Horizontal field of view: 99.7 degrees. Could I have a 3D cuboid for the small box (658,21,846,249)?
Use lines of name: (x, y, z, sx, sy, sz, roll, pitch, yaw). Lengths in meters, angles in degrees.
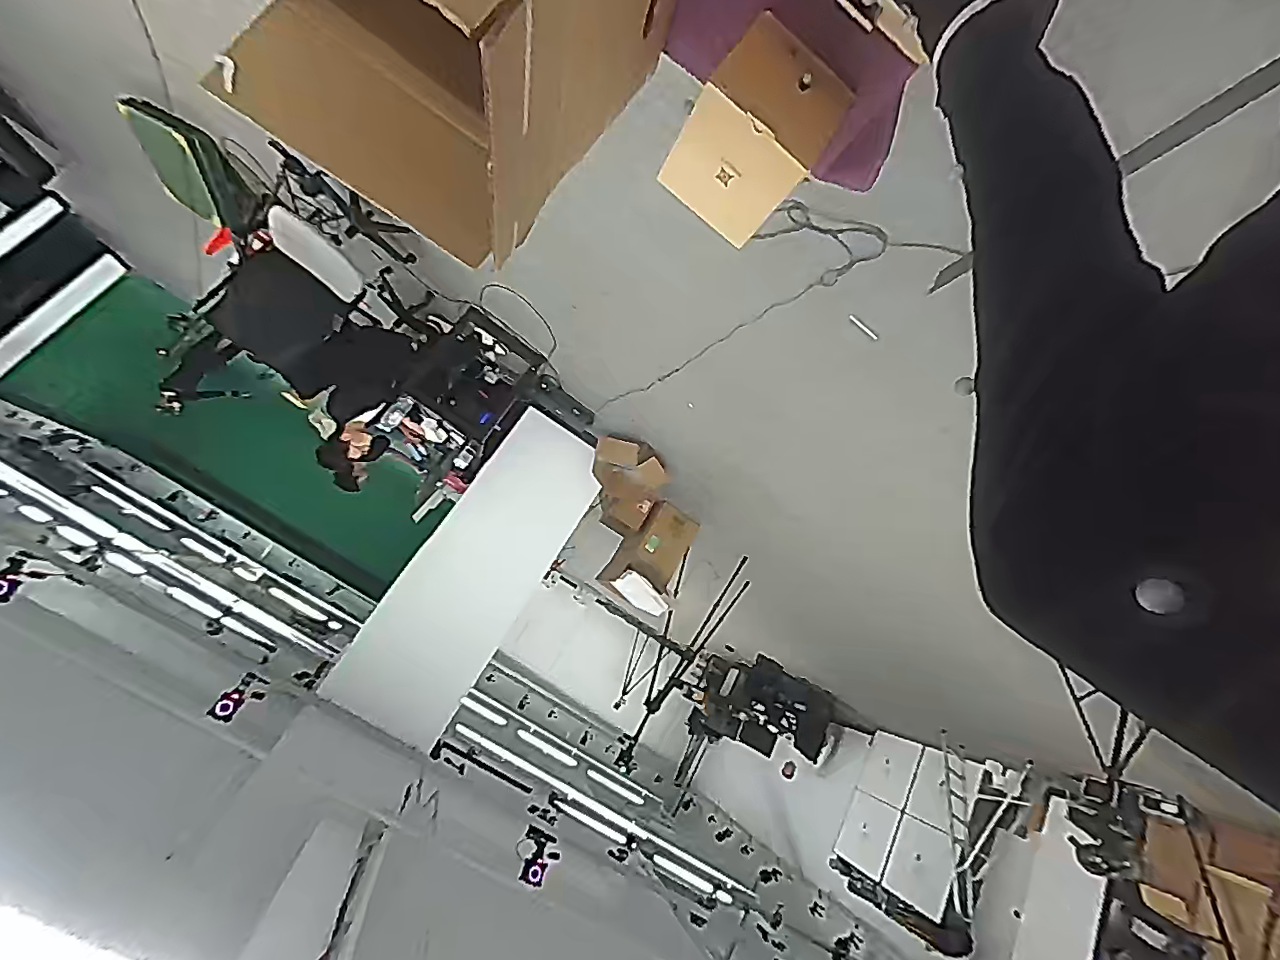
small box: (0.158, -0.482, 0.770, 0.168, 0.176, 0.179, 35, 159, -10)
